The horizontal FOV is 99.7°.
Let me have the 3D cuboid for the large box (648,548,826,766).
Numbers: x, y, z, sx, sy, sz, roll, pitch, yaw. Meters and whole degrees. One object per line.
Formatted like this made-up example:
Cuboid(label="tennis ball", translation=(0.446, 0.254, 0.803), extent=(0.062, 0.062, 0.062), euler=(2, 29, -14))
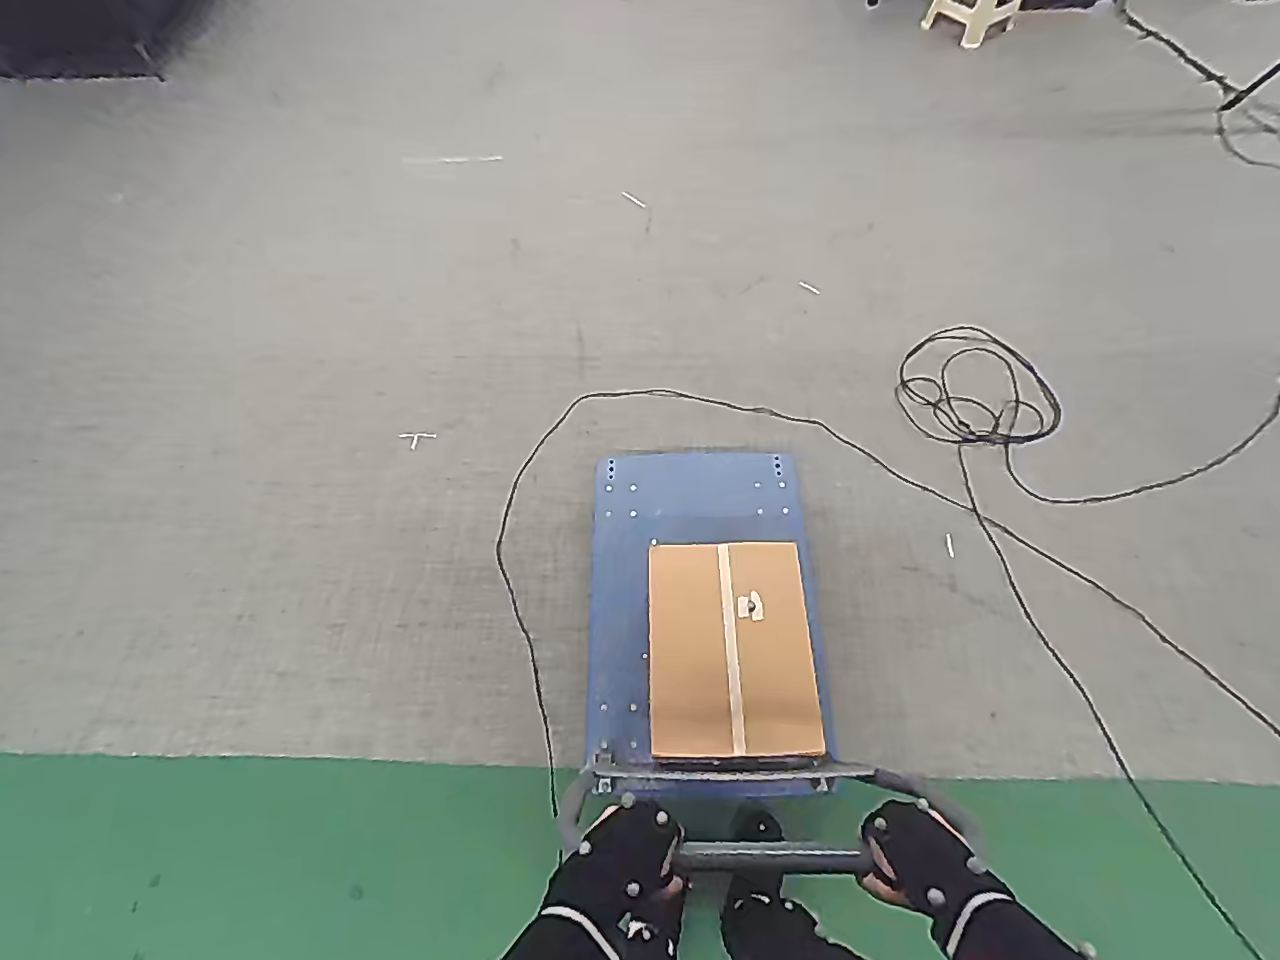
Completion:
Cuboid(label="large box", translation=(0.182, 0.395, 1.186), extent=(0.320, 0.320, 0.408), euler=(-1, 62, 1))
